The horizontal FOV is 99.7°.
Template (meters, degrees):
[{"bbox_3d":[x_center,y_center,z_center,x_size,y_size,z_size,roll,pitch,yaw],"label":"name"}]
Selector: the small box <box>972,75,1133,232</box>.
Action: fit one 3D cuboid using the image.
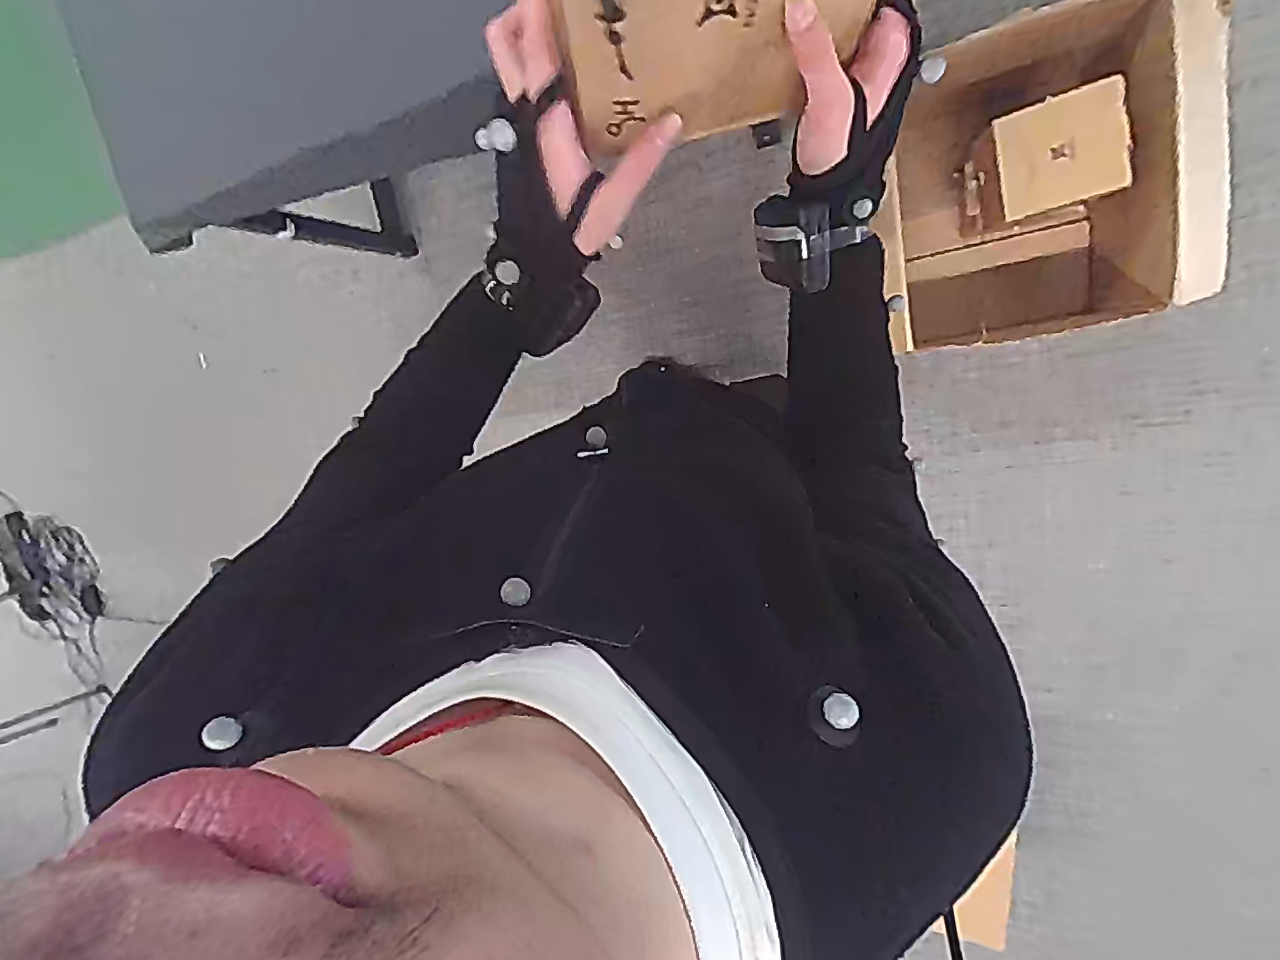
[{"bbox_3d":[0.706,-0.551,0.941,0.179,0.176,0.168,-11,103,23],"label":"small box"}]
